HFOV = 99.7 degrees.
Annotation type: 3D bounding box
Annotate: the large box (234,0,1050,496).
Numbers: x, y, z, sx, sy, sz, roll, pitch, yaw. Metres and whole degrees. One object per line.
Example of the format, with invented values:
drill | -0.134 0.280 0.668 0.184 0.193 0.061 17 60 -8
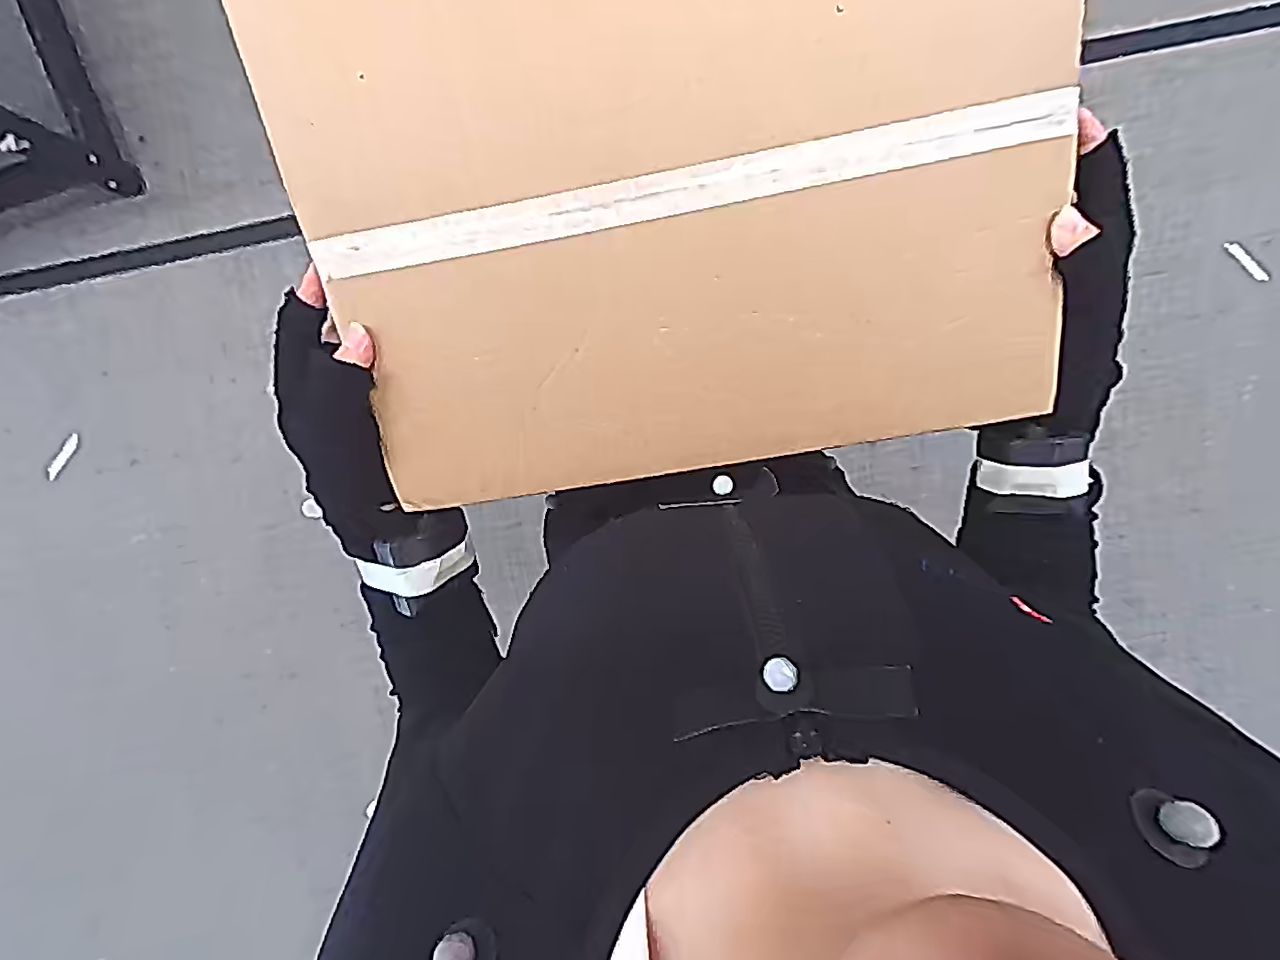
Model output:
large box | 0.016 -0.214 0.436 0.408 0.320 0.320 -8 110 4
